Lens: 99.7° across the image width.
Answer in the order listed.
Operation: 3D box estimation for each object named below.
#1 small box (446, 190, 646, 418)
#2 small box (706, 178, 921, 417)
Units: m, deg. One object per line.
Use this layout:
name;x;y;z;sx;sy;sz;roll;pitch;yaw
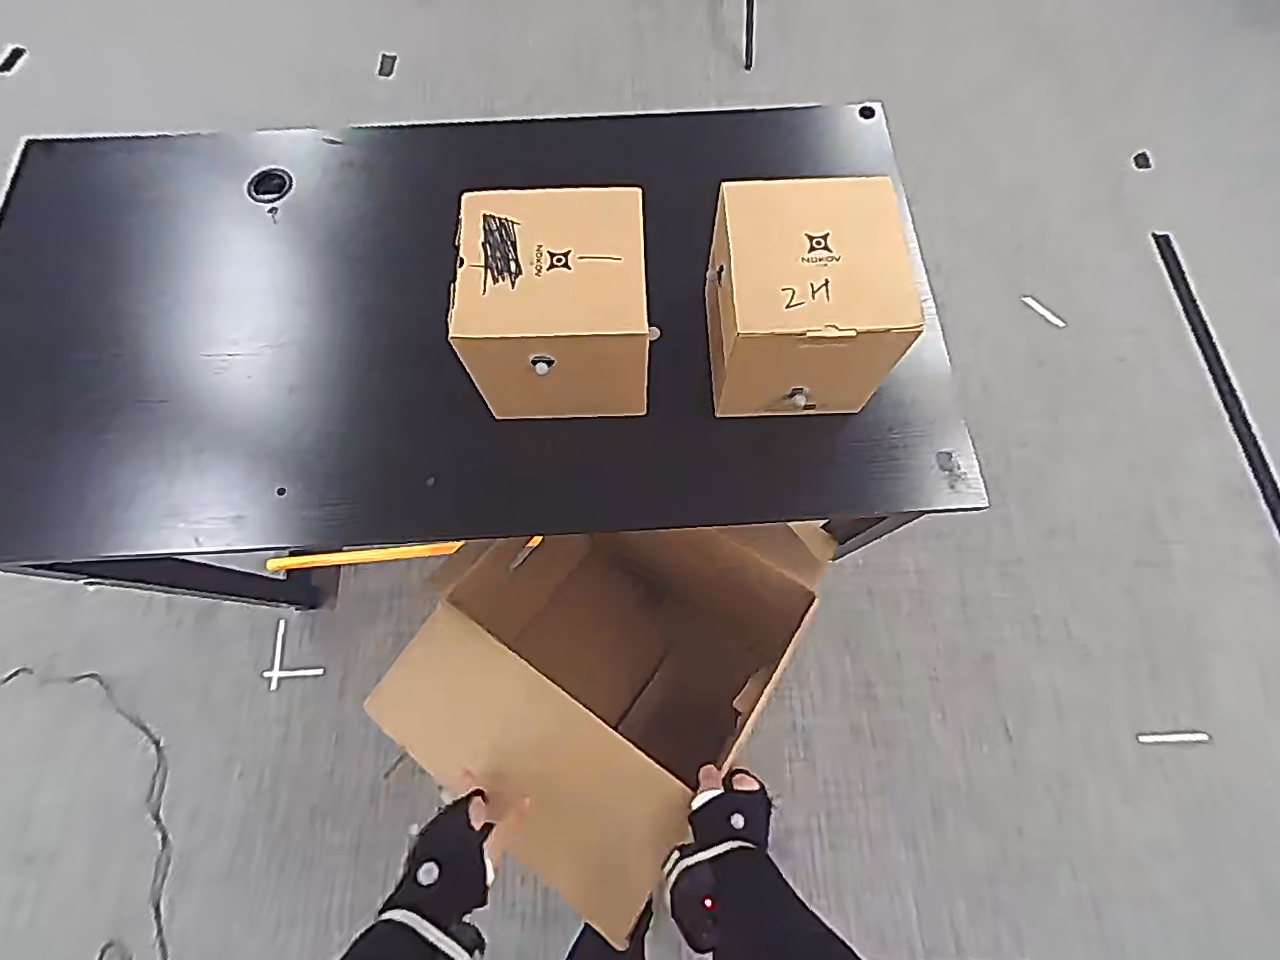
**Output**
small box;-0.083;-0.173;0.570;0.179;0.176;0.168;-1;72;-1
small box;0.162;-0.182;0.569;0.168;0.176;0.179;-2;71;1
